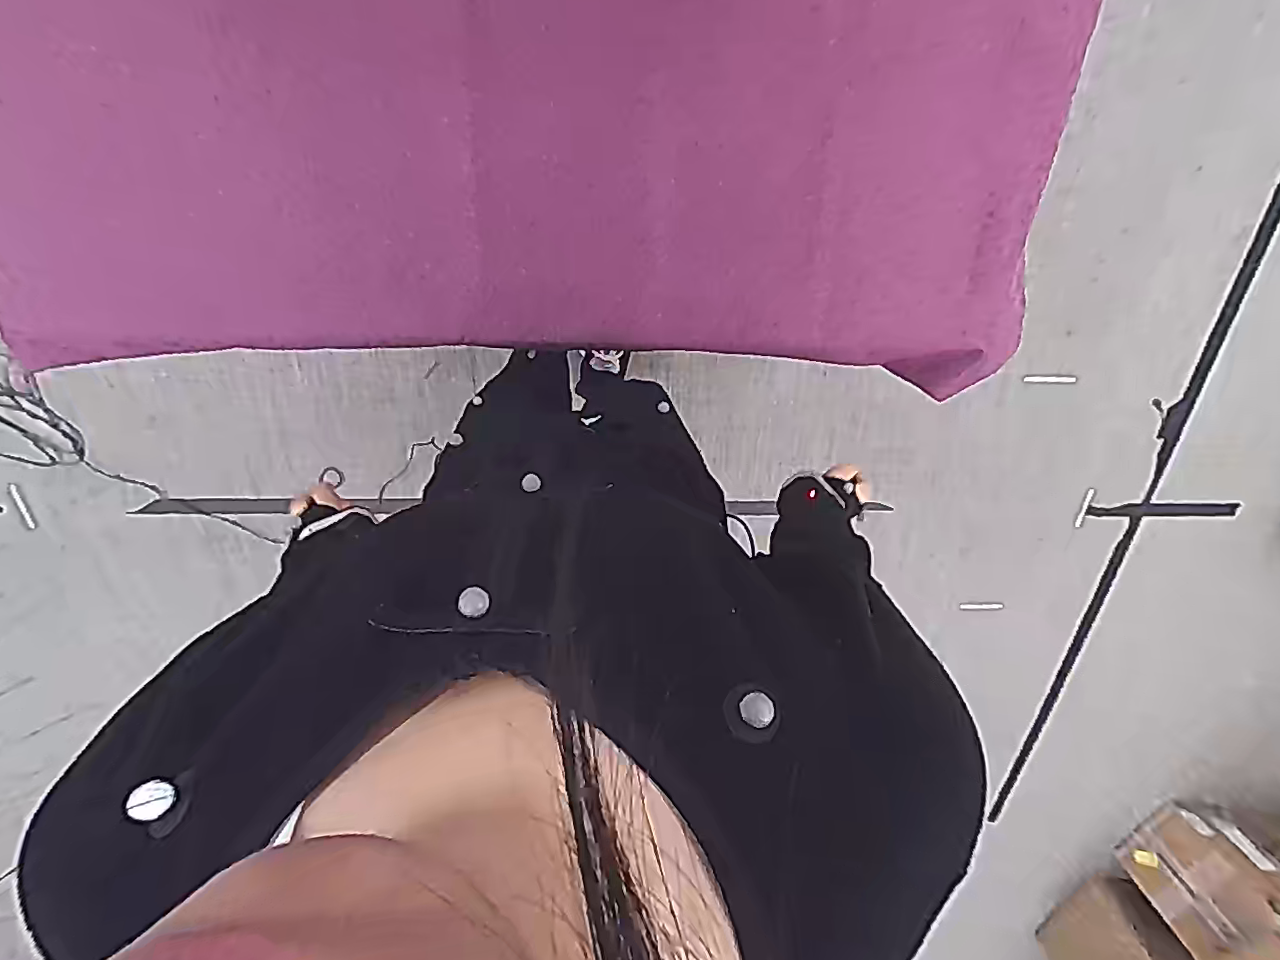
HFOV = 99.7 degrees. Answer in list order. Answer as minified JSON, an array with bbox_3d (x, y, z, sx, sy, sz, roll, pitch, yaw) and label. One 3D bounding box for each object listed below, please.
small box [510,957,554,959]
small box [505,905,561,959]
[{"bbox_3d":[-0.360,1.710,1.771,0.168,0.176,0.179,0,114,-4],"label":"small box"},{"bbox_3d":[-0.375,1.649,1.921,0.179,0.176,0.168,-1,114,-3],"label":"small box"}]
